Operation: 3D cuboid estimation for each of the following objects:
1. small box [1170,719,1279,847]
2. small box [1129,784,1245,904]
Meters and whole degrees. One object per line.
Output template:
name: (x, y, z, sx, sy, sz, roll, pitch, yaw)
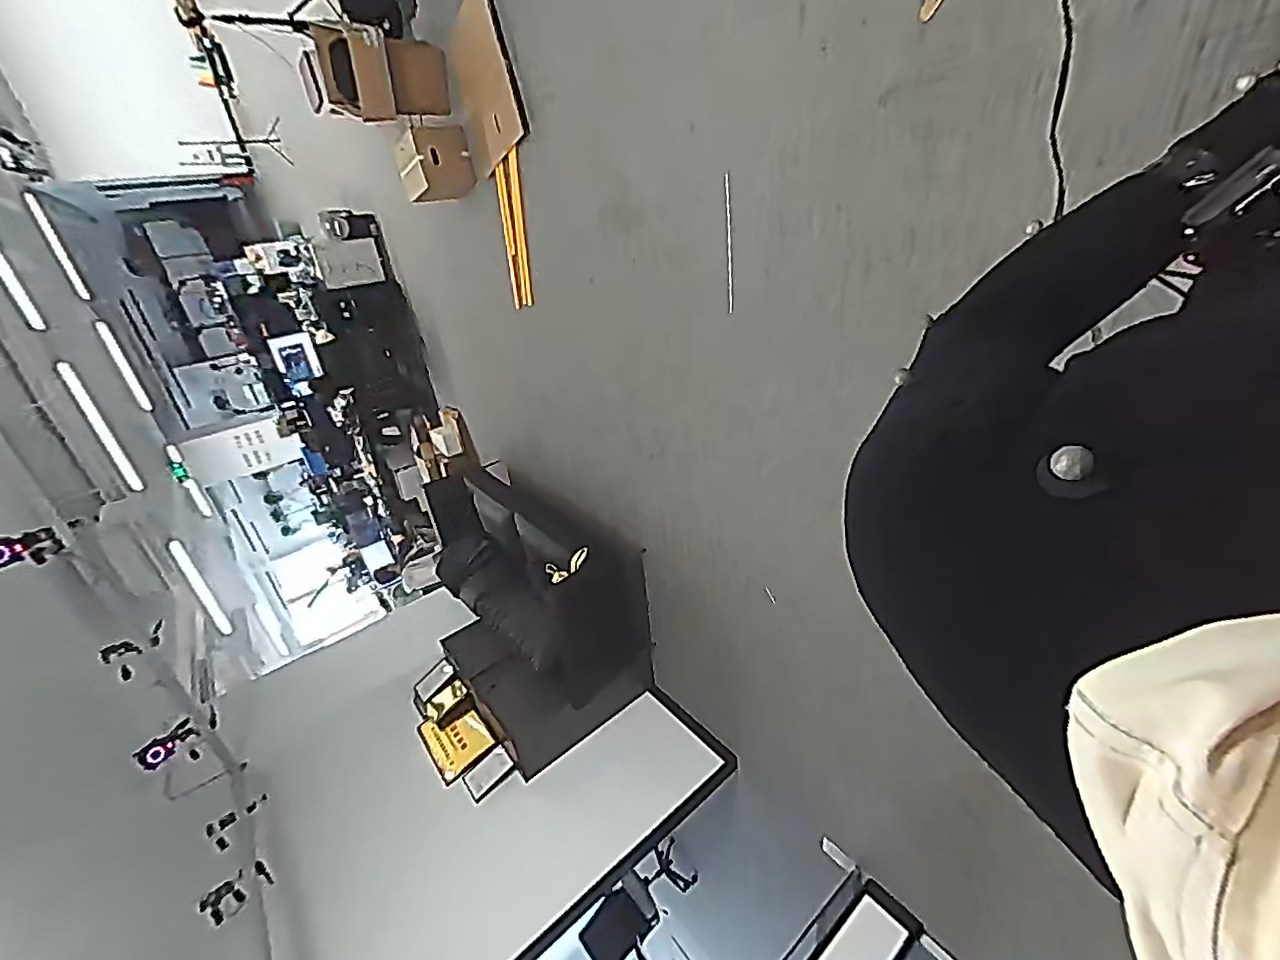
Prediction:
small box: (1.457, 0.732, 1.320, 0.168, 0.176, 0.179, 29, 134, 44)
small box: (1.479, 0.972, 1.459, 0.168, 0.176, 0.179, 30, 135, 45)
